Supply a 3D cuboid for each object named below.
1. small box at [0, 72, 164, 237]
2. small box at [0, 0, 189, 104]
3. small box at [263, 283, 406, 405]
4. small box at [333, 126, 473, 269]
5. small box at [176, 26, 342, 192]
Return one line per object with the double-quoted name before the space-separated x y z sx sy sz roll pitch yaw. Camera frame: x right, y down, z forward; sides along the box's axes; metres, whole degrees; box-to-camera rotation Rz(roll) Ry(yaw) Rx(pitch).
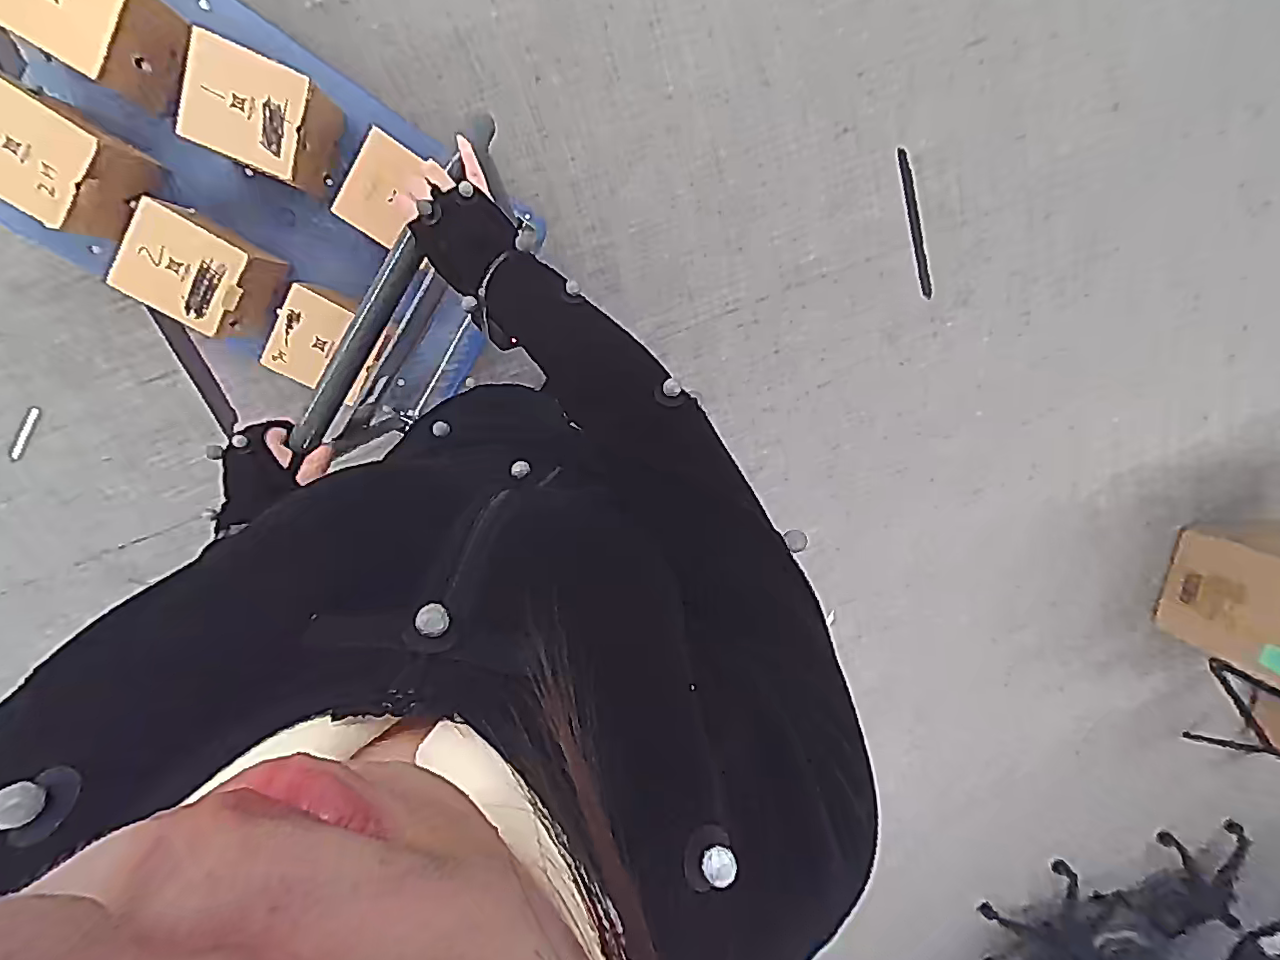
"small box" -0.985 -0.539 0.919 0.179 0.176 0.168 32 99 -19
"small box" -0.890 -0.750 0.873 0.179 0.176 0.168 27 100 -18
"small box" -0.594 -0.272 1.077 0.179 0.176 0.168 27 99 -18
"small box" -0.438 -0.522 1.032 0.179 0.176 0.168 31 99 -18
"small box" -0.657 -0.633 0.954 0.179 0.176 0.168 18 103 -14
